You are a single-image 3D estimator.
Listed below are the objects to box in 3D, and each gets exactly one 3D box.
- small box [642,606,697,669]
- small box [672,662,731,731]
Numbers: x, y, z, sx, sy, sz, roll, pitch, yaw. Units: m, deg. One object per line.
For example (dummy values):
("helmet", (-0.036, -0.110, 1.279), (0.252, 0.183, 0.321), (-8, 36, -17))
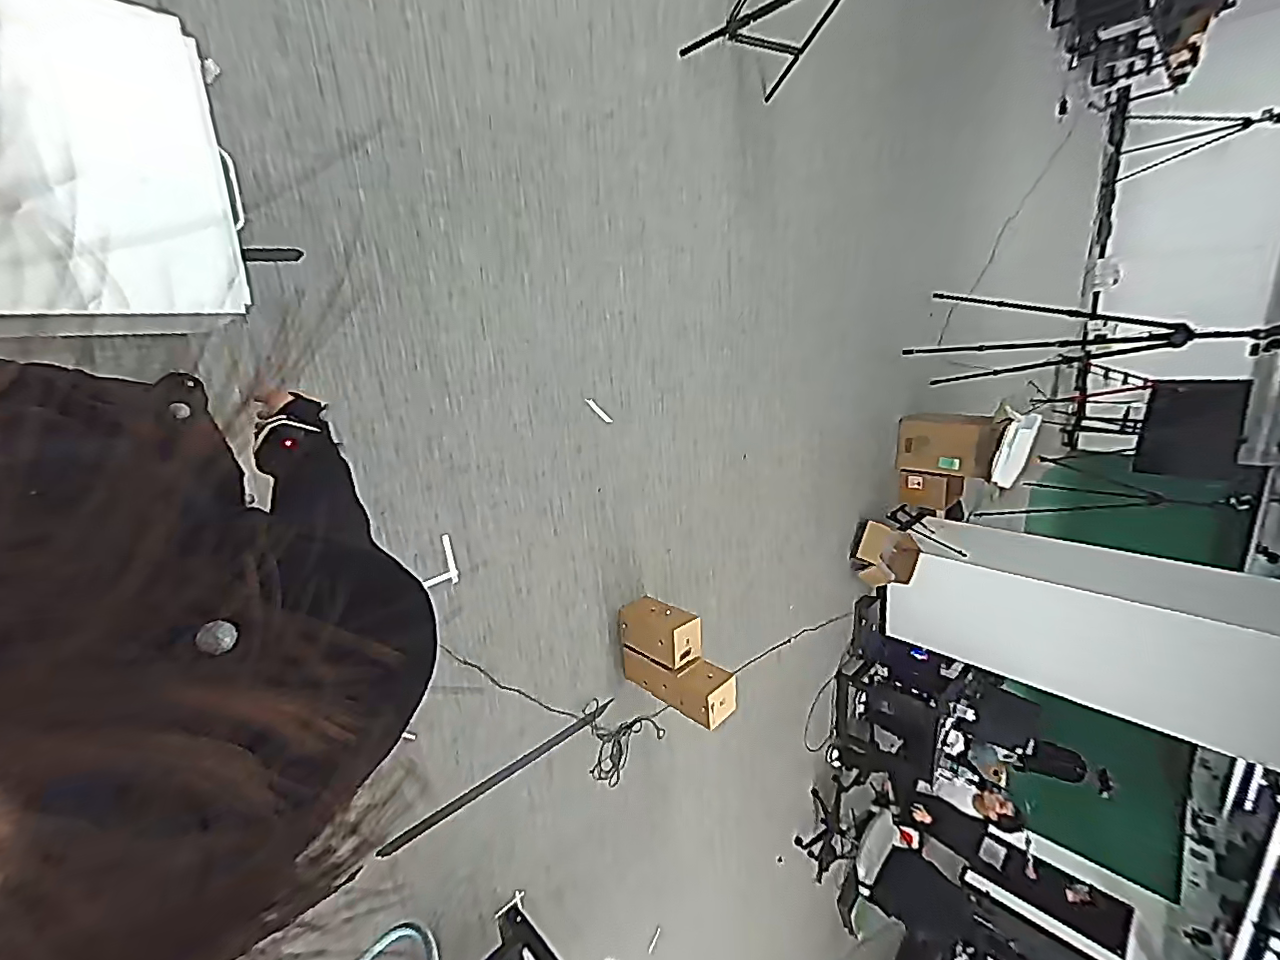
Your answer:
("small box", (0.120, 0.653, 2.262), (0.168, 0.176, 0.179), (-12, 105, -43))
("small box", (0.252, 0.874, 2.206), (0.179, 0.176, 0.168), (-20, 112, -41))
